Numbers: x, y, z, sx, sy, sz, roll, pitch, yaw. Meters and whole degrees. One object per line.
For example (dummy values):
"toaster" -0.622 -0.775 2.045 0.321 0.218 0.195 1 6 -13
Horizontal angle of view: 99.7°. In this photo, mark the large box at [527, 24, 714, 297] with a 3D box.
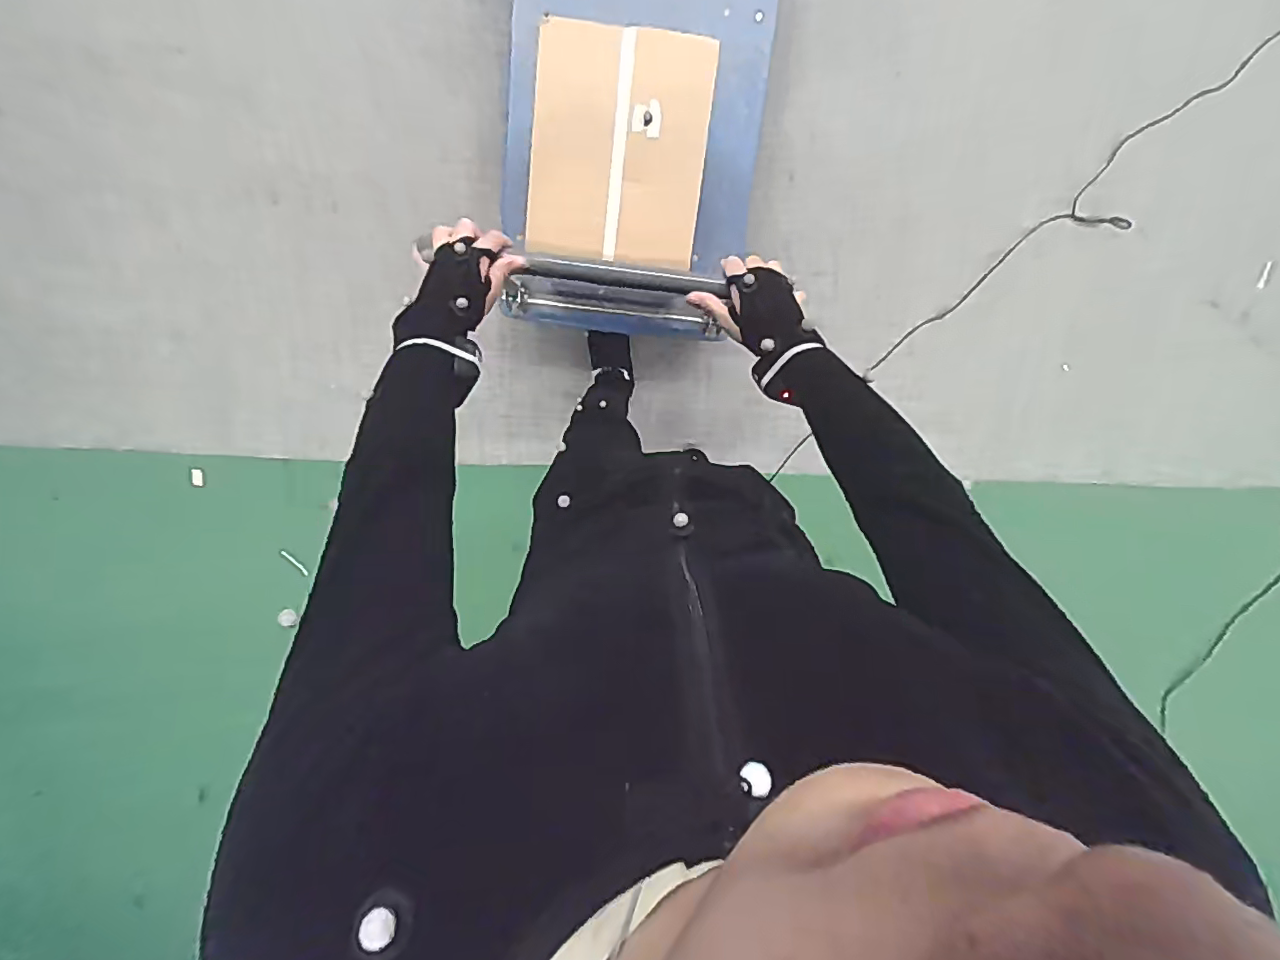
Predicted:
"large box" -0.041 -0.620 1.133 0.320 0.320 0.408 7 103 -2
